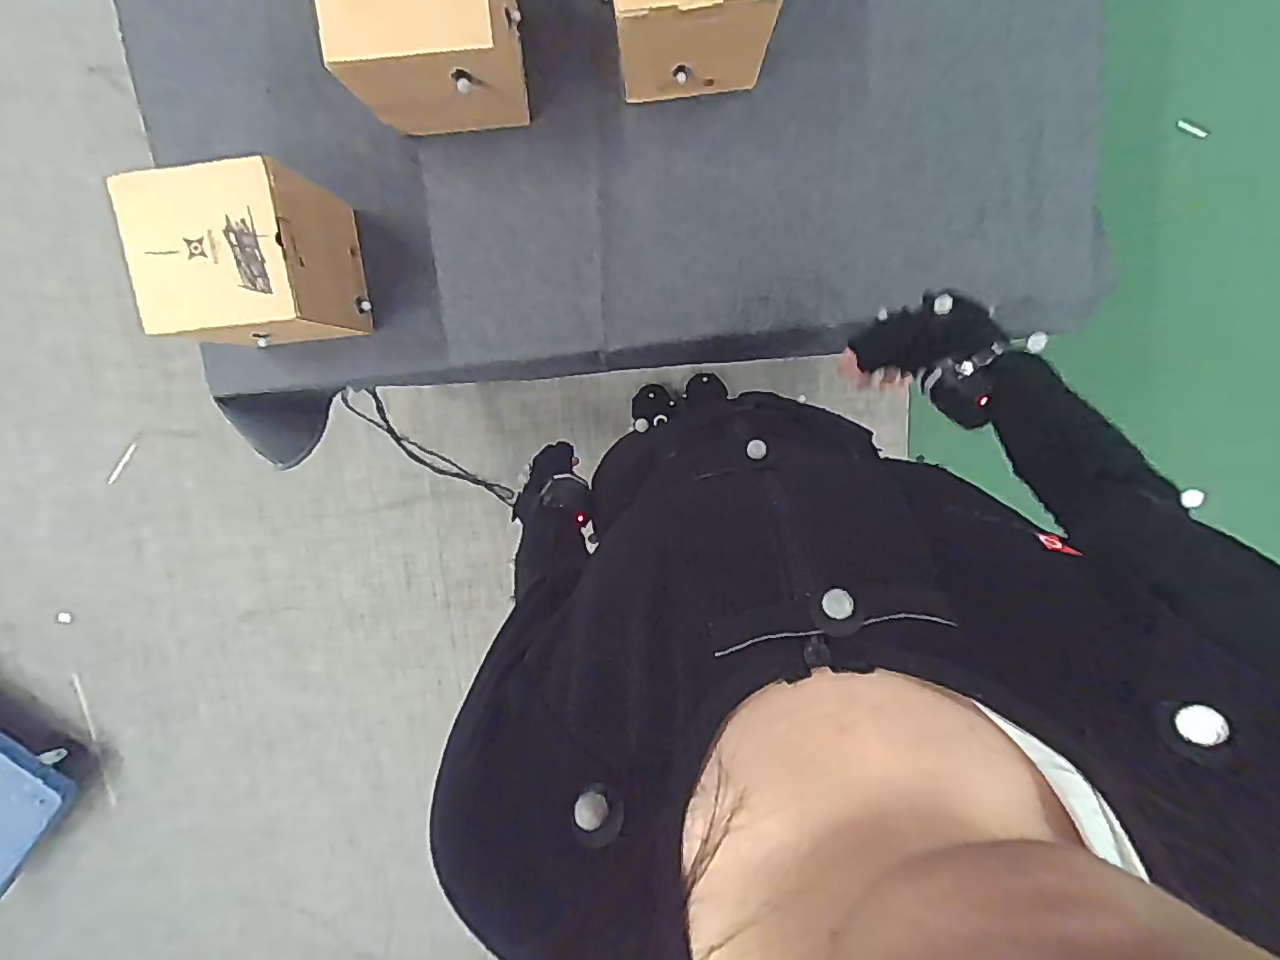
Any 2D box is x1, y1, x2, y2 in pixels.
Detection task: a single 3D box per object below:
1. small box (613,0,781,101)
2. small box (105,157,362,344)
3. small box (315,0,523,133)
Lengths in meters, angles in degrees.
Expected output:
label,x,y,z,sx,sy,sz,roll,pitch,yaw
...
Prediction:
label,x,y,z,sx,sy,sz,roll,pitch,yaw
small box,0.051,-0.561,0.594,0.168,0.176,0.179,-6,100,2
small box,-0.462,-0.261,0.651,0.179,0.176,0.168,-6,99,2
small box,-0.235,-0.516,0.603,0.179,0.176,0.168,-4,100,2
